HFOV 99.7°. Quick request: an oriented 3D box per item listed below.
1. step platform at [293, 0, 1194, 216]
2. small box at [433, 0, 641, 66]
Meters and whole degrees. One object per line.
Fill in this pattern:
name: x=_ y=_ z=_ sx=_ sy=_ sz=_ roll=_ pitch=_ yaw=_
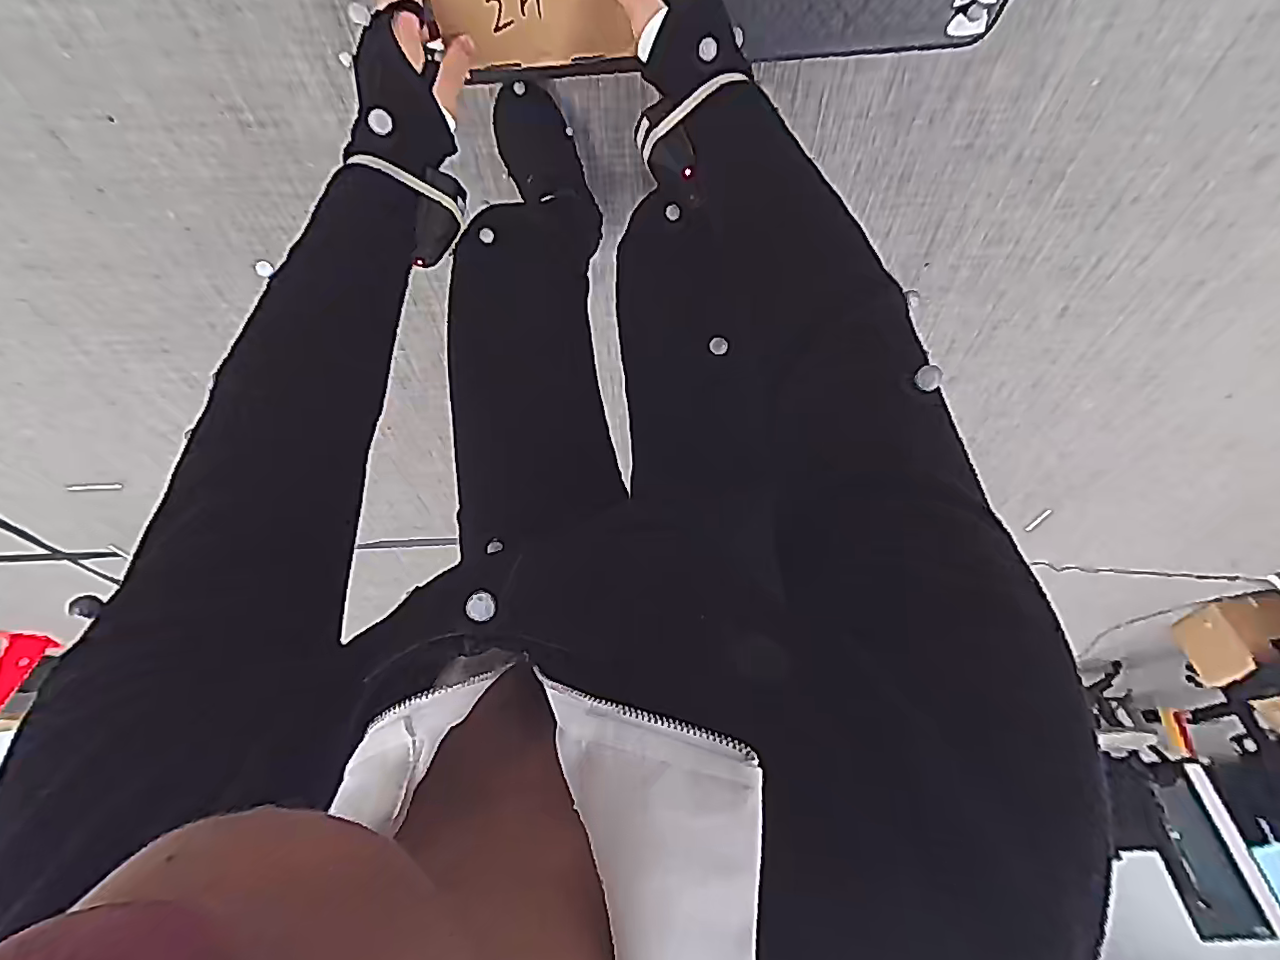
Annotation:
step platform: x=0.080 y=-0.426 z=0.452 sx=0.684 sy=0.204 sz=0.286 roll=-4 pitch=144 yaw=1
small box: x=-0.088 y=-0.471 z=0.435 sx=0.168 sy=0.176 sz=0.179 roll=-4 pitch=145 yaw=1
